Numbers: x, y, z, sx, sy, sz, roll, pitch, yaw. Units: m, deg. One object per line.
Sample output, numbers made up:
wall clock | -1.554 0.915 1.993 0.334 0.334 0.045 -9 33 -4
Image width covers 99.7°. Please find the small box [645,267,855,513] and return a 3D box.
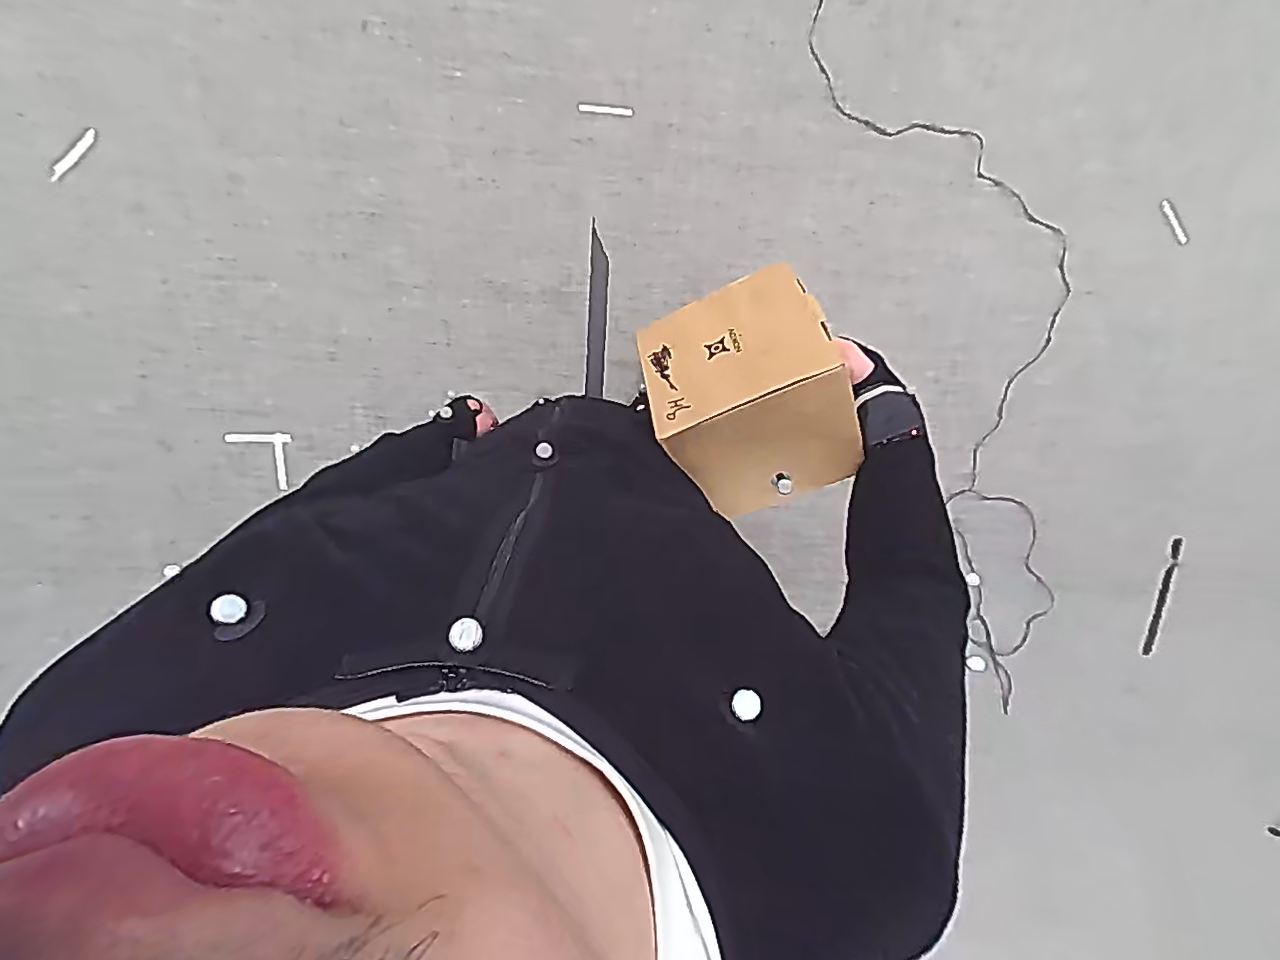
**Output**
small box | 0.125 -0.090 0.599 0.179 0.168 0.176 -21 140 14
